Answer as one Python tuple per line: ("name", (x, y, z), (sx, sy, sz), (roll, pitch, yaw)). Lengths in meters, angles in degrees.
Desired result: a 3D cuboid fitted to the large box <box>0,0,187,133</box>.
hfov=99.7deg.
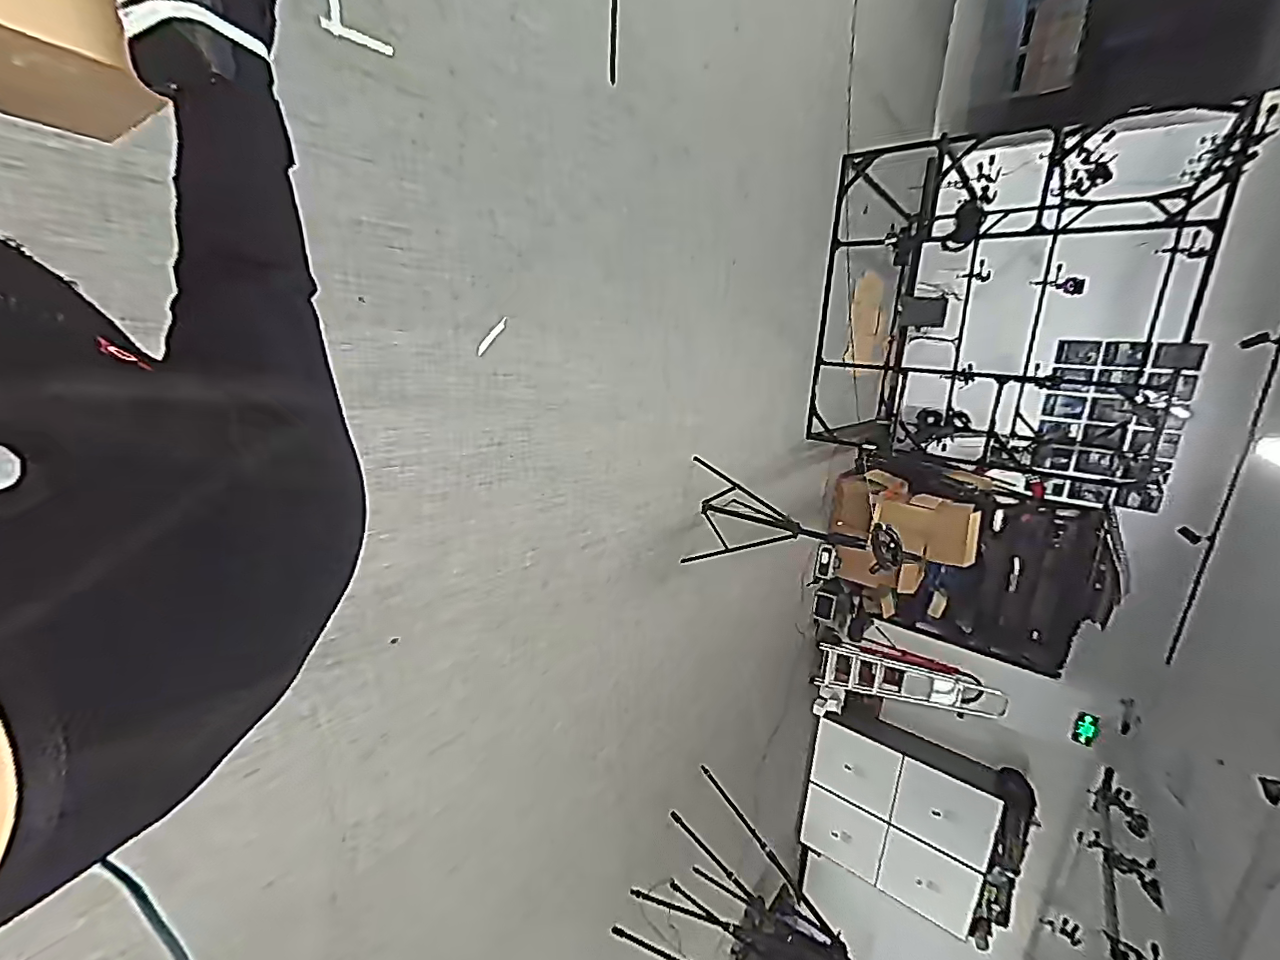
("large box", (-0.562, -0.459, 0.305), (0.408, 0.320, 0.320), (-9, 111, -52))
